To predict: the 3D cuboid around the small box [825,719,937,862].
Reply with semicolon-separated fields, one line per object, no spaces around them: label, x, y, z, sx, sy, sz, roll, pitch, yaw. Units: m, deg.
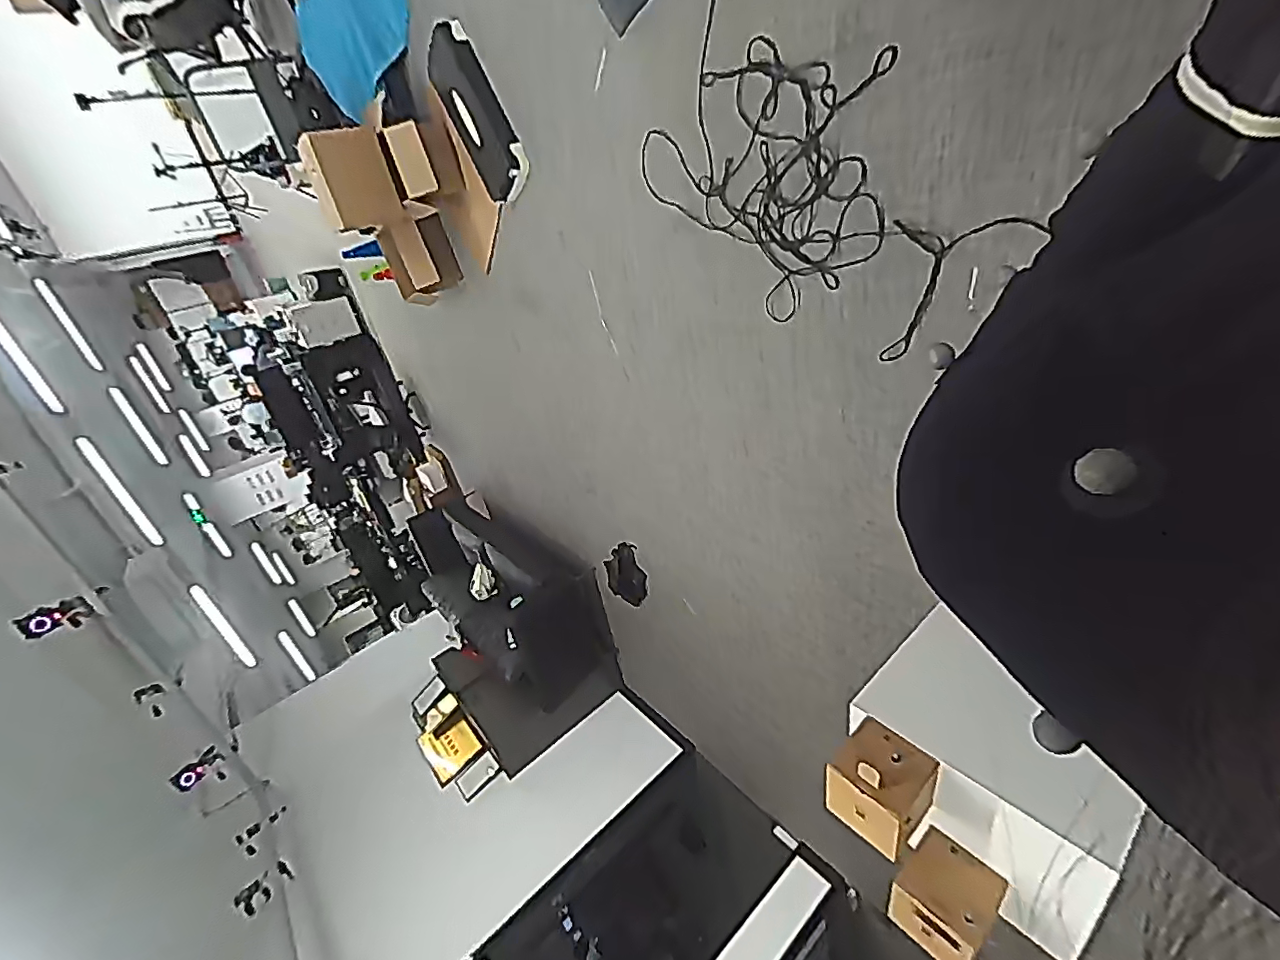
small box;0.529;0.674;1.190;0.168;0.176;0.179;25;136;46
